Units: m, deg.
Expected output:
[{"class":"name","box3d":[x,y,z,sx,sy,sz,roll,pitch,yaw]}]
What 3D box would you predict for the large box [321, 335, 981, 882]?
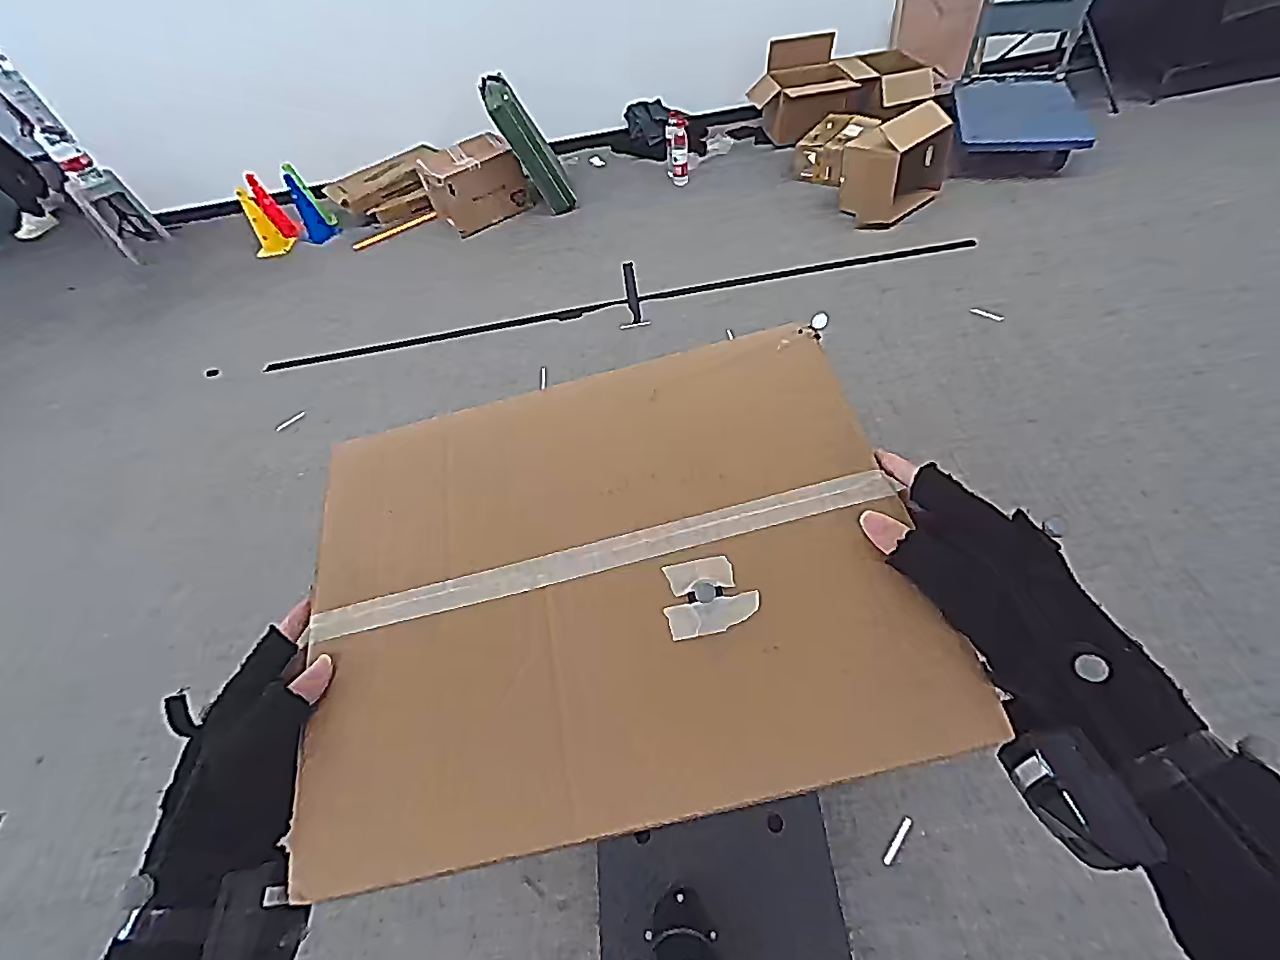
[{"class":"large box","box3d":[-0.006,0.126,0.512,0.408,0.320,0.320,-14,61,1]}]
